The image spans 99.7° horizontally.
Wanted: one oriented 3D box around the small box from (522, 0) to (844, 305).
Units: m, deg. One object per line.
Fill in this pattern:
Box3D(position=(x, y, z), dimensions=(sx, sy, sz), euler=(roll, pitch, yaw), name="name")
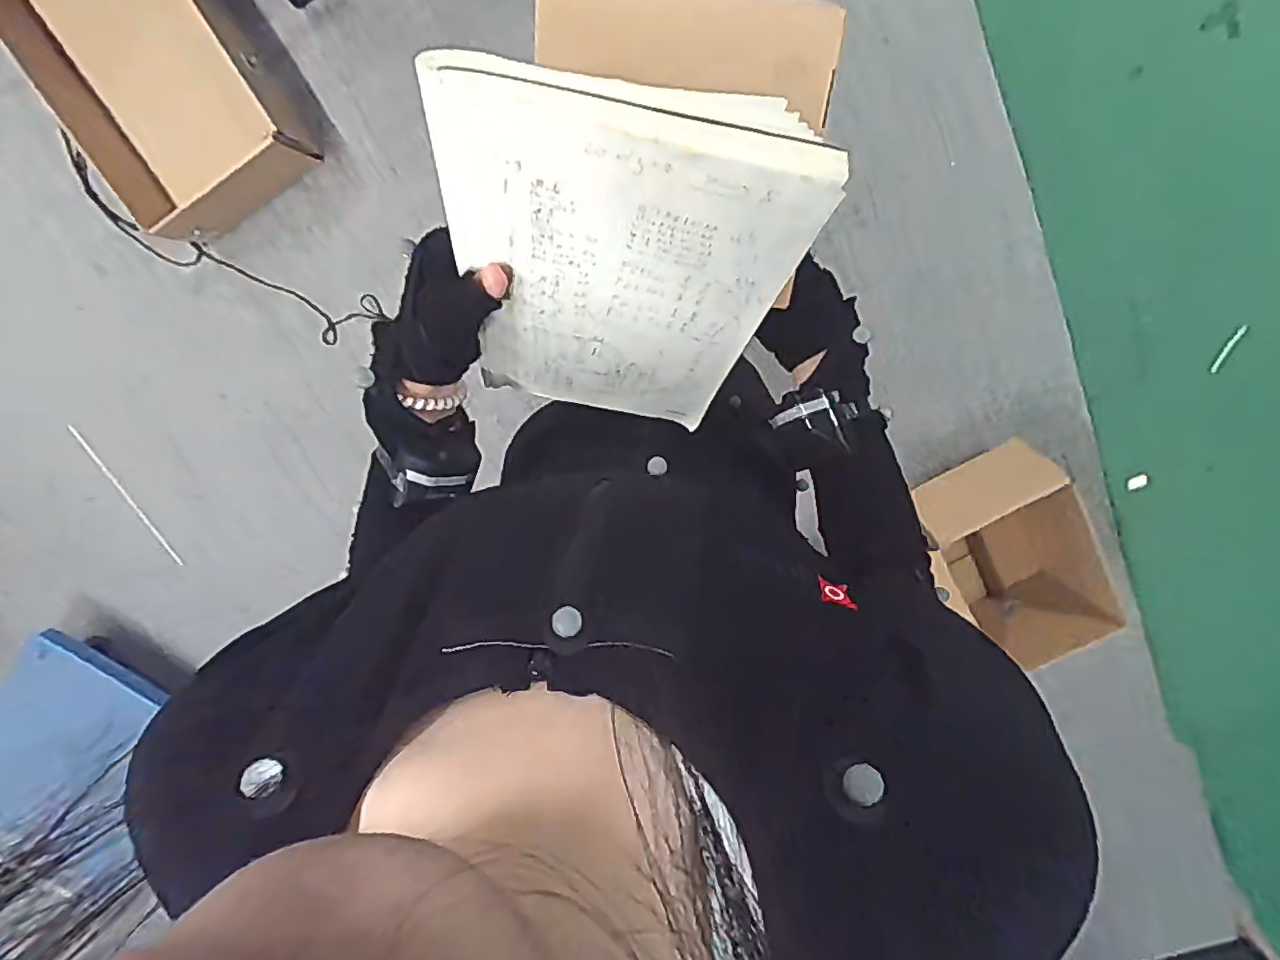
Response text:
Box3D(position=(0.015, -0.229, 0.397), dimensions=(0.179, 0.176, 0.168), euler=(5, 110, -6), name="small box")
